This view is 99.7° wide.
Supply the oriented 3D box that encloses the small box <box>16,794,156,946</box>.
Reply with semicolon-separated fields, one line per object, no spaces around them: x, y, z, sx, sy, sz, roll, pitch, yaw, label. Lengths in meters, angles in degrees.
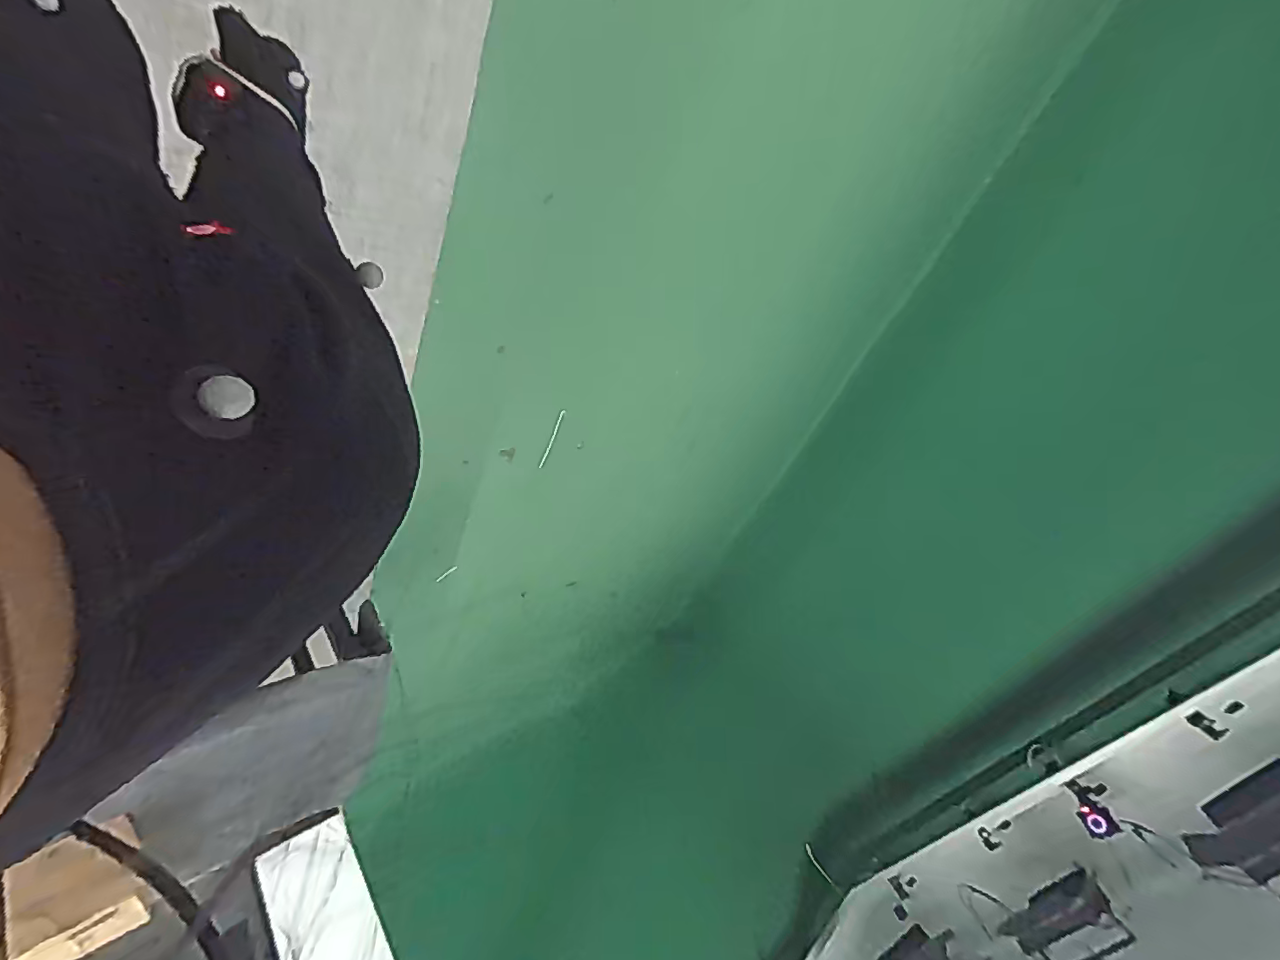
-1.107;0.771;1.085;0.168;0.176;0.179;-13;142;-42;small box
